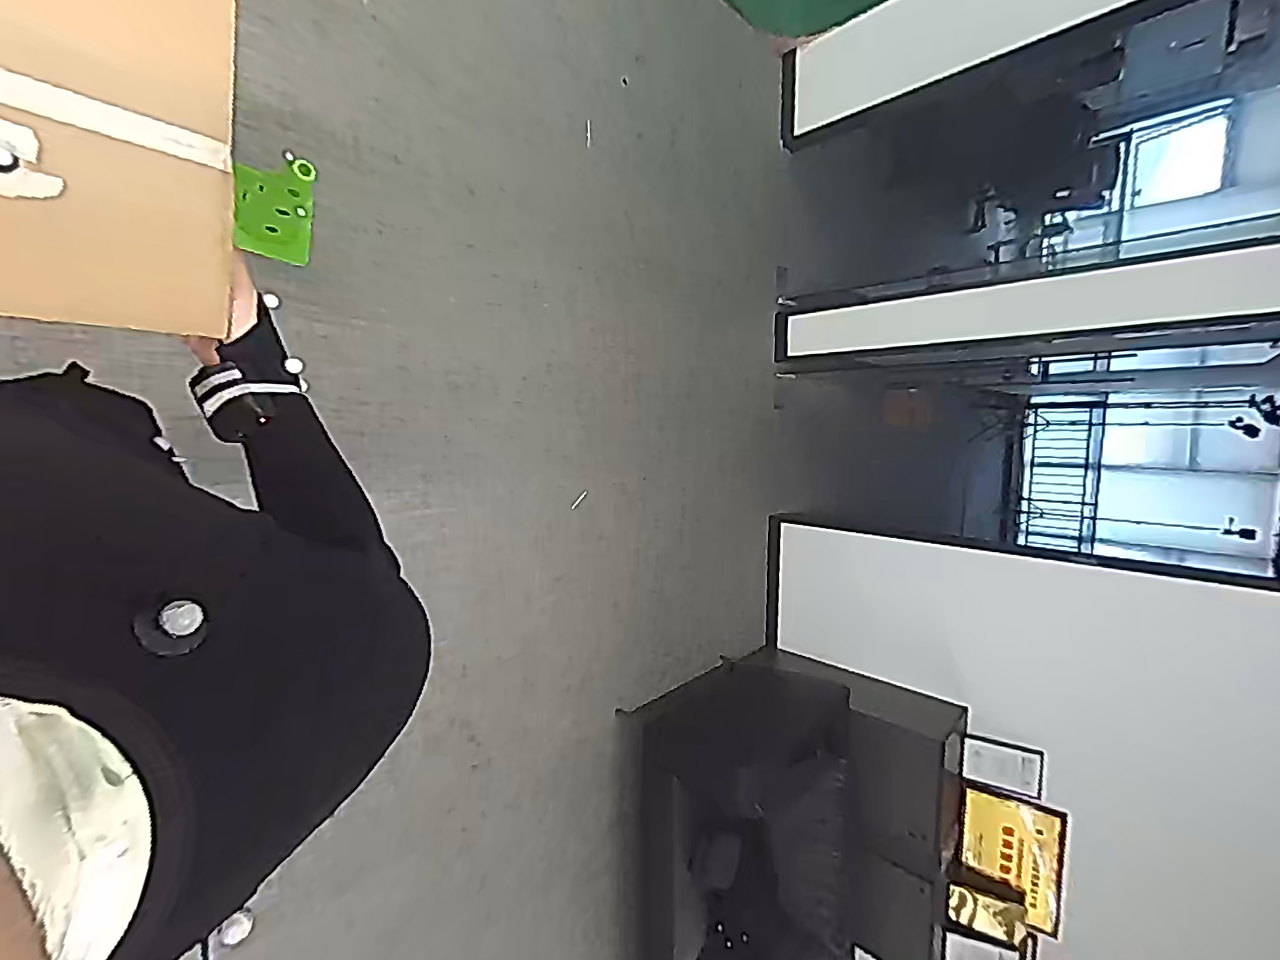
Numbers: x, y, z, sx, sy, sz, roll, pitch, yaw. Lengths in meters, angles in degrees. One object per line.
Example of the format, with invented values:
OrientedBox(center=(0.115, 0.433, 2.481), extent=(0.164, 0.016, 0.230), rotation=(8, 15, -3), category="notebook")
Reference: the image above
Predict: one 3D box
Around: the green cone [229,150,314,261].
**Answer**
OrientedBox(center=(-0.821, -0.664, 1.240), extent=(0.200, 0.368, 0.202), rotation=(3, 91, -47), category="green cone")

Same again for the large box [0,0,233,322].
OrientedBox(center=(-0.592, -0.322, 0.391), extent=(0.408, 0.320, 0.320), rotation=(-10, 120, -54), category="large box")
